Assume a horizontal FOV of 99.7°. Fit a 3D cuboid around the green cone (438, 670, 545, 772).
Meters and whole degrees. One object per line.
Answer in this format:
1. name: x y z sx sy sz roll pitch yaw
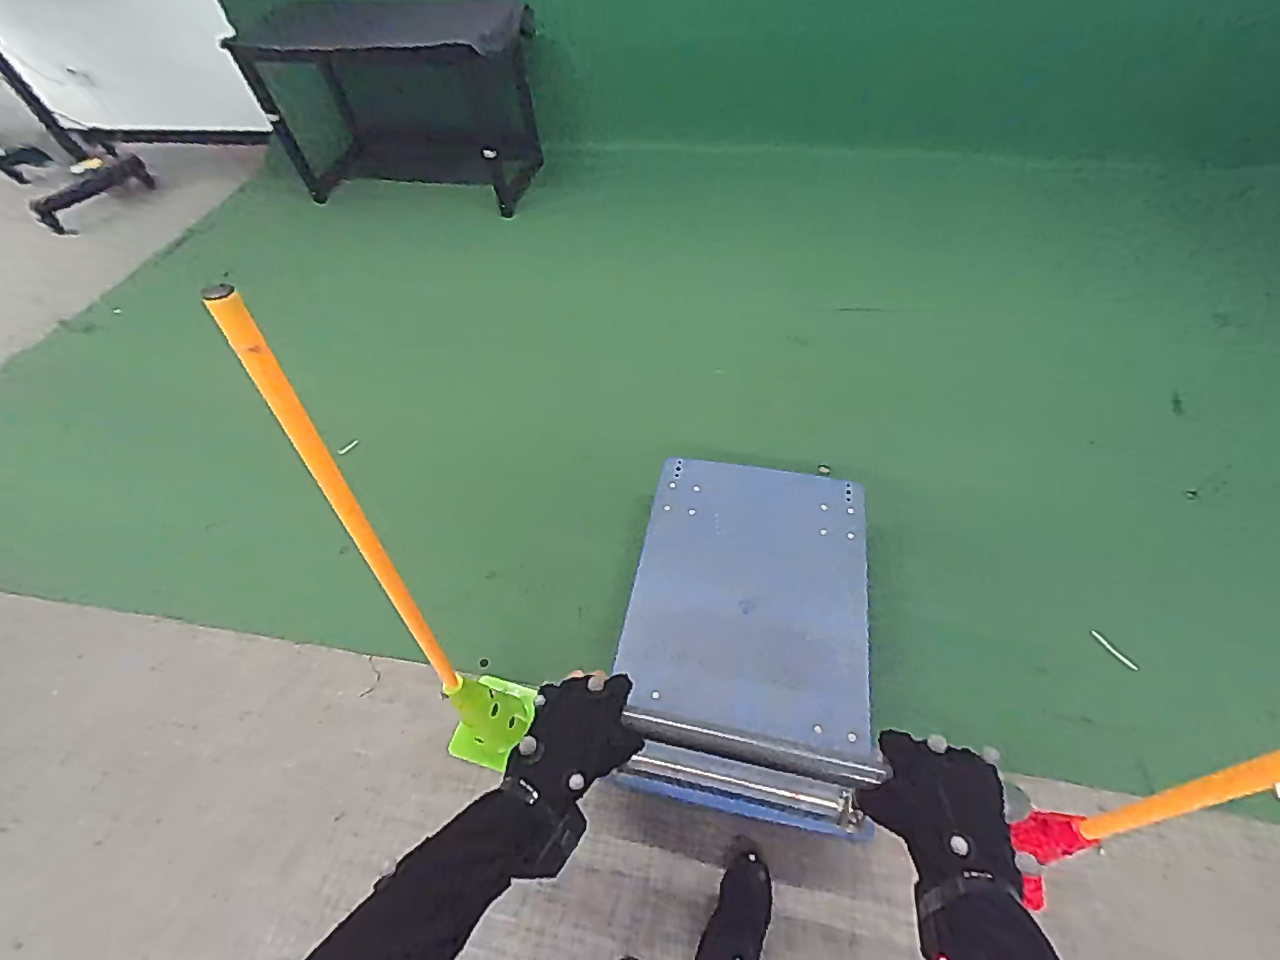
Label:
1. green cone: -0.372 0.509 1.235 0.202 0.368 0.200 11 55 12
